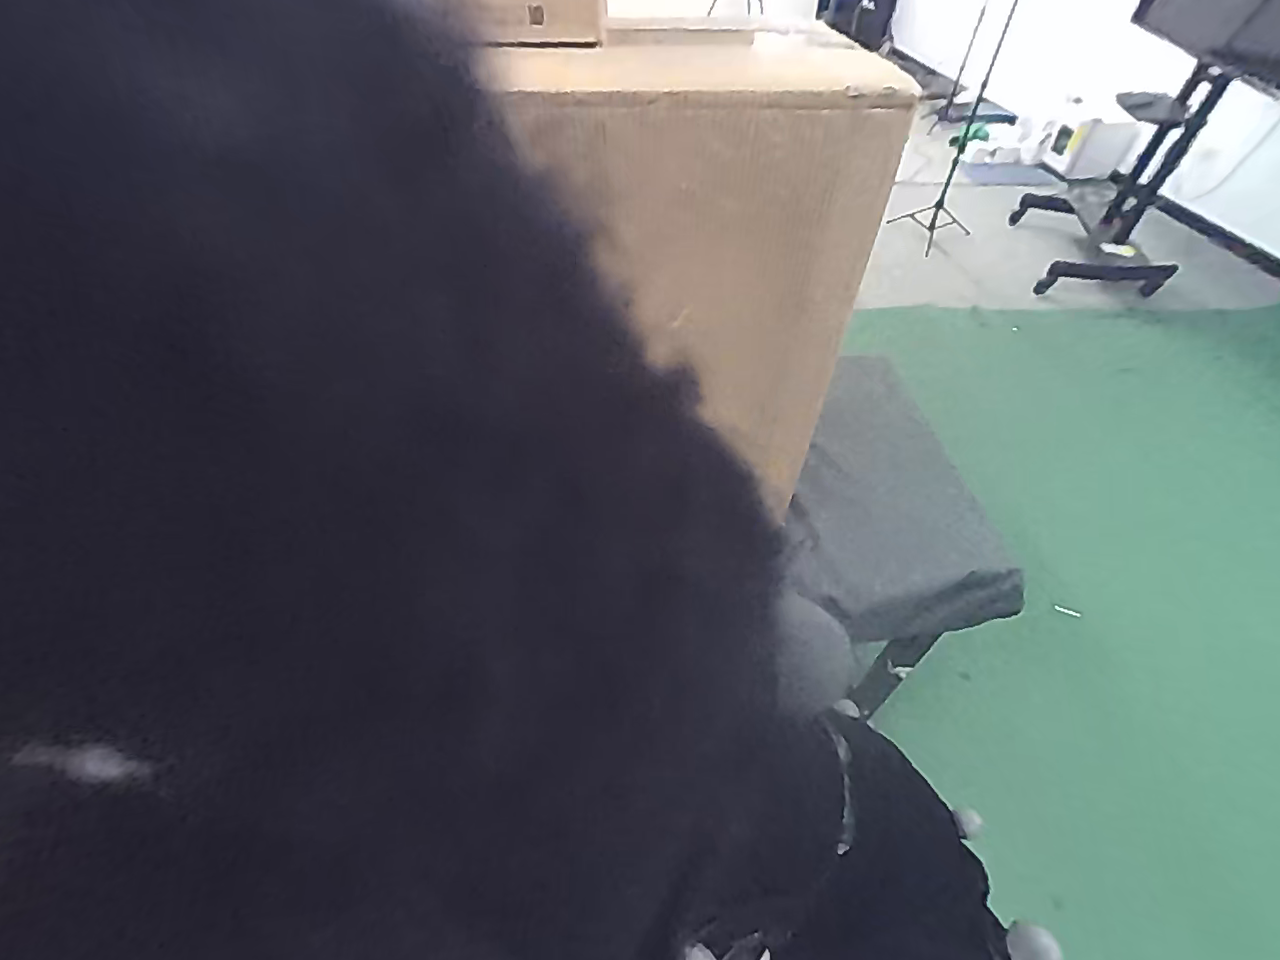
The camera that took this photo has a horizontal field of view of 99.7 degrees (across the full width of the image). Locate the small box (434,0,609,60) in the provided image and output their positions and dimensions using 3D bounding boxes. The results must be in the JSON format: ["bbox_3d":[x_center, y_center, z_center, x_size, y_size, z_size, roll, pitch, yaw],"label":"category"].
[{"bbox_3d":[-0.119,-0.538,0.537,0.168,0.176,0.179,-1,46,0],"label":"small box"}]
